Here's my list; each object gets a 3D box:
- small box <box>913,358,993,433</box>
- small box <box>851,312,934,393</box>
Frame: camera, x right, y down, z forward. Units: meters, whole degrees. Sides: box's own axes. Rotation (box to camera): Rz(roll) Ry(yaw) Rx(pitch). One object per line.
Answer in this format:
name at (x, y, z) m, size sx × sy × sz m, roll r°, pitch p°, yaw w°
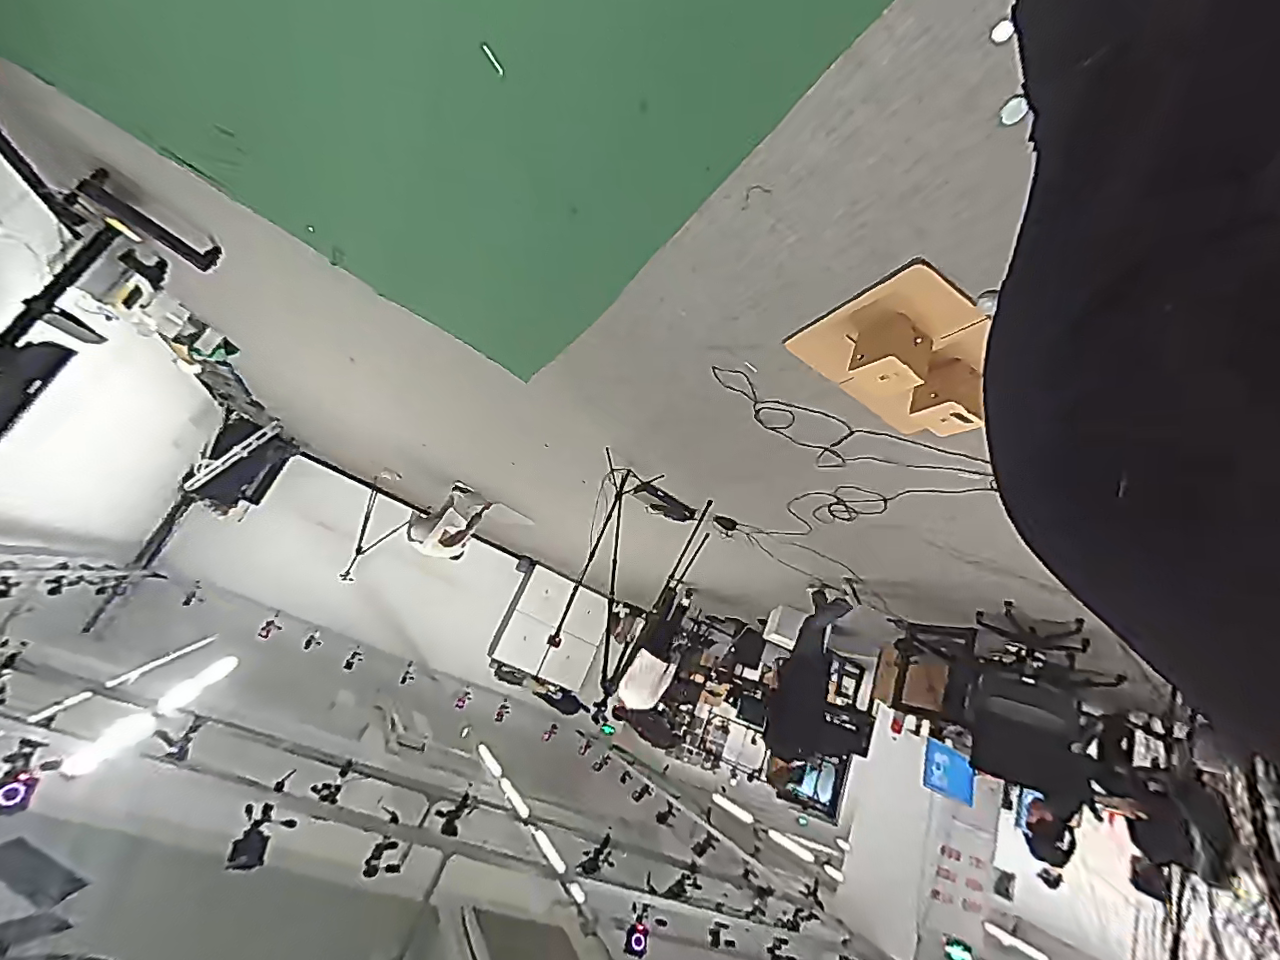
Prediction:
small box at (1.074, -0.289, 1.850) m, size 0.168 × 0.176 × 0.179 m, roll 28°, pitch 160°, yaw -16°
small box at (0.835, -0.418, 1.782) m, size 0.168 × 0.176 × 0.179 m, roll 29°, pitch 159°, yaw -22°
